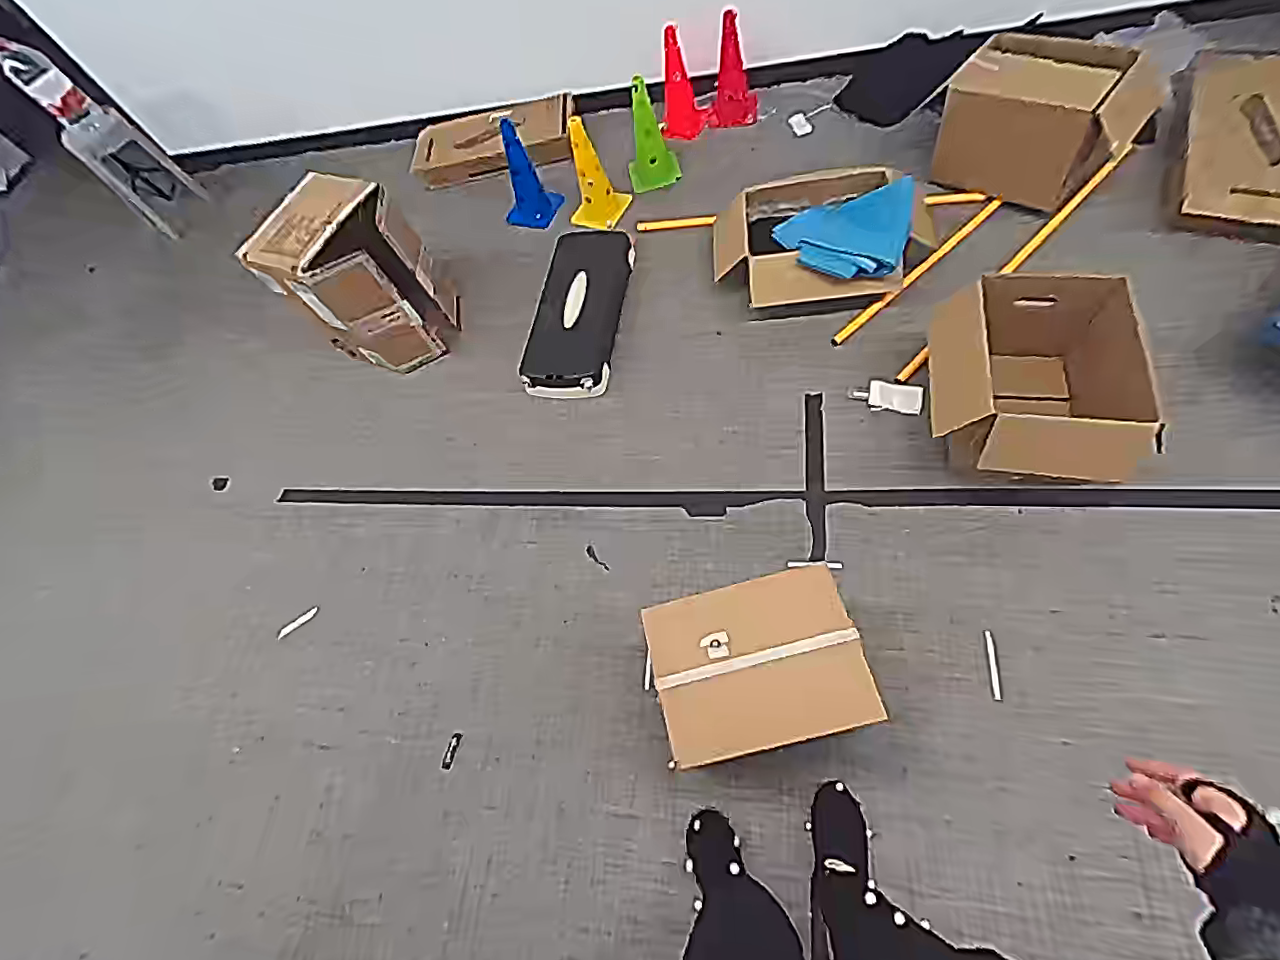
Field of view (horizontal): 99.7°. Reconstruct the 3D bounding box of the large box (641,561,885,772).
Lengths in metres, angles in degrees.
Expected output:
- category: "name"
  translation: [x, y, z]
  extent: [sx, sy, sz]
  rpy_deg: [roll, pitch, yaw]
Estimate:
- category: "large box"
  translation: [0.254, 0.415, 1.190]
  extent: [0.408, 0.320, 0.320]
  rpy_deg: [-17, 62, 5]
